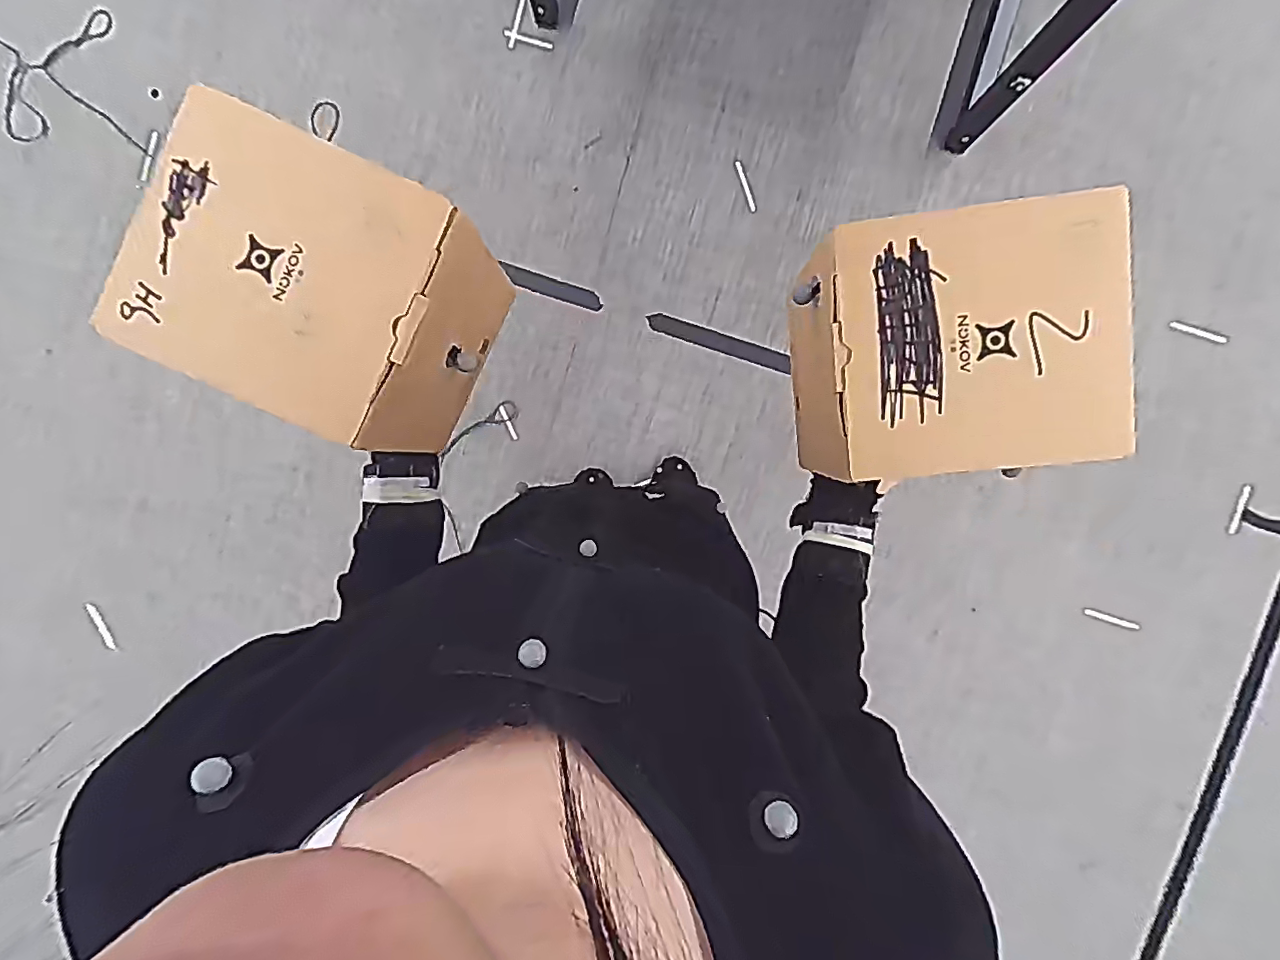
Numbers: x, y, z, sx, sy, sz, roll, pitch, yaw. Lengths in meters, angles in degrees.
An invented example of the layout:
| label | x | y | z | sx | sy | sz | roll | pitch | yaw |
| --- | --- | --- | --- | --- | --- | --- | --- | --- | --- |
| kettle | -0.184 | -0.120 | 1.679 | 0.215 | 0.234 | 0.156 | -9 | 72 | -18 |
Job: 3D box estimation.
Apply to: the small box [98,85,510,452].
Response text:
| label | x | y | z | sx | sy | sz | roll | pitch | yaw |
| --- | --- | --- | --- | --- | --- | --- | --- | --- | --- |
| small box | -0.218 | -0.132 | 0.407 | 0.179 | 0.176 | 0.168 | 25 | 91 | -3 |
